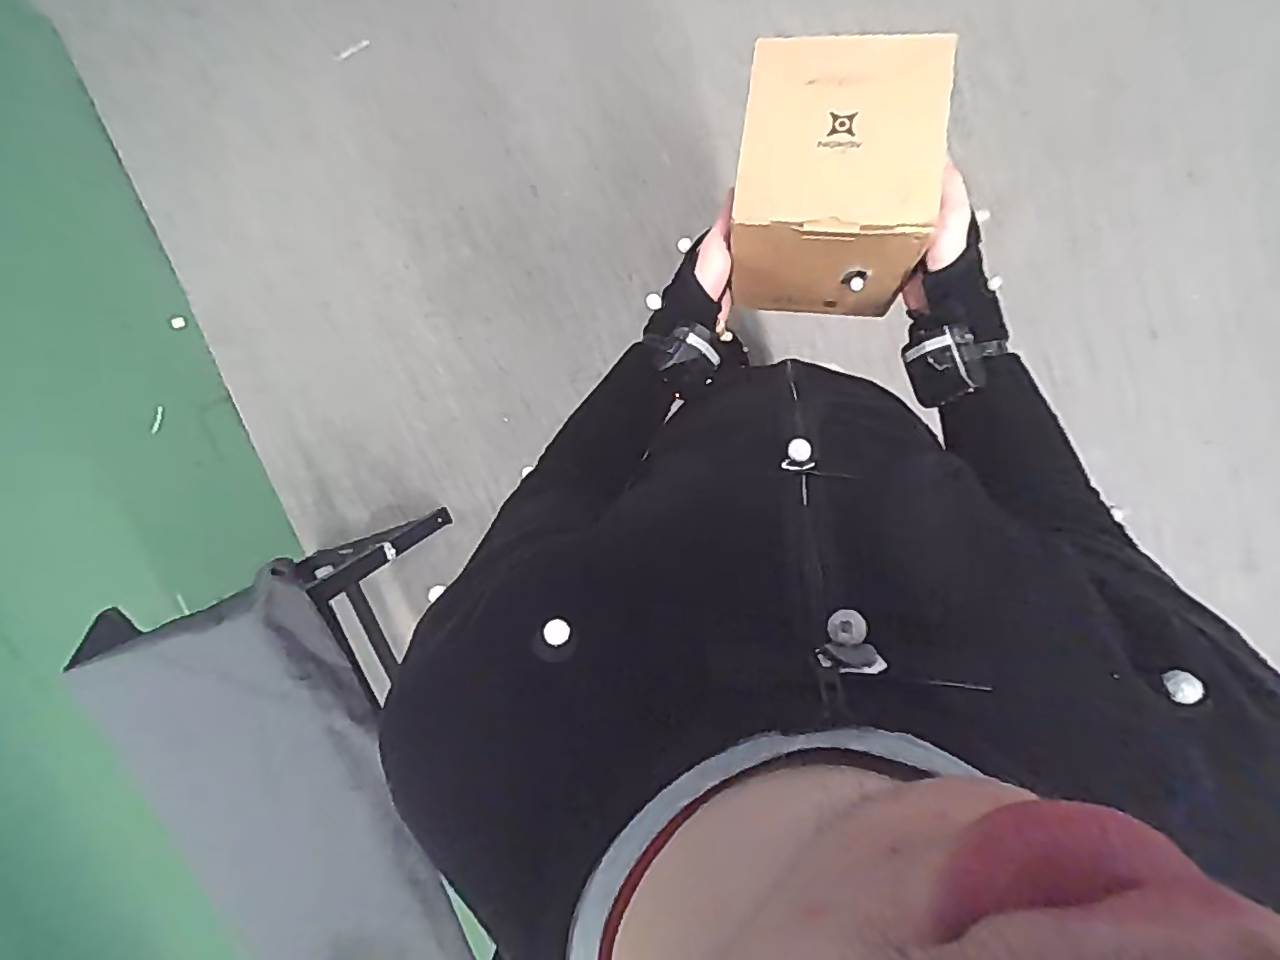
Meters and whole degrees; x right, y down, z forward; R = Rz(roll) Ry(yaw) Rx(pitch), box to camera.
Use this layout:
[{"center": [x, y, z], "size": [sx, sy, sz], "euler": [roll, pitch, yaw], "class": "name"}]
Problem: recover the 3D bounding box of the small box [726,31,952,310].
[{"center": [0.178, -0.285, 0.529], "size": [0.168, 0.176, 0.179], "euler": [7, 82, 9], "class": "small box"}]
